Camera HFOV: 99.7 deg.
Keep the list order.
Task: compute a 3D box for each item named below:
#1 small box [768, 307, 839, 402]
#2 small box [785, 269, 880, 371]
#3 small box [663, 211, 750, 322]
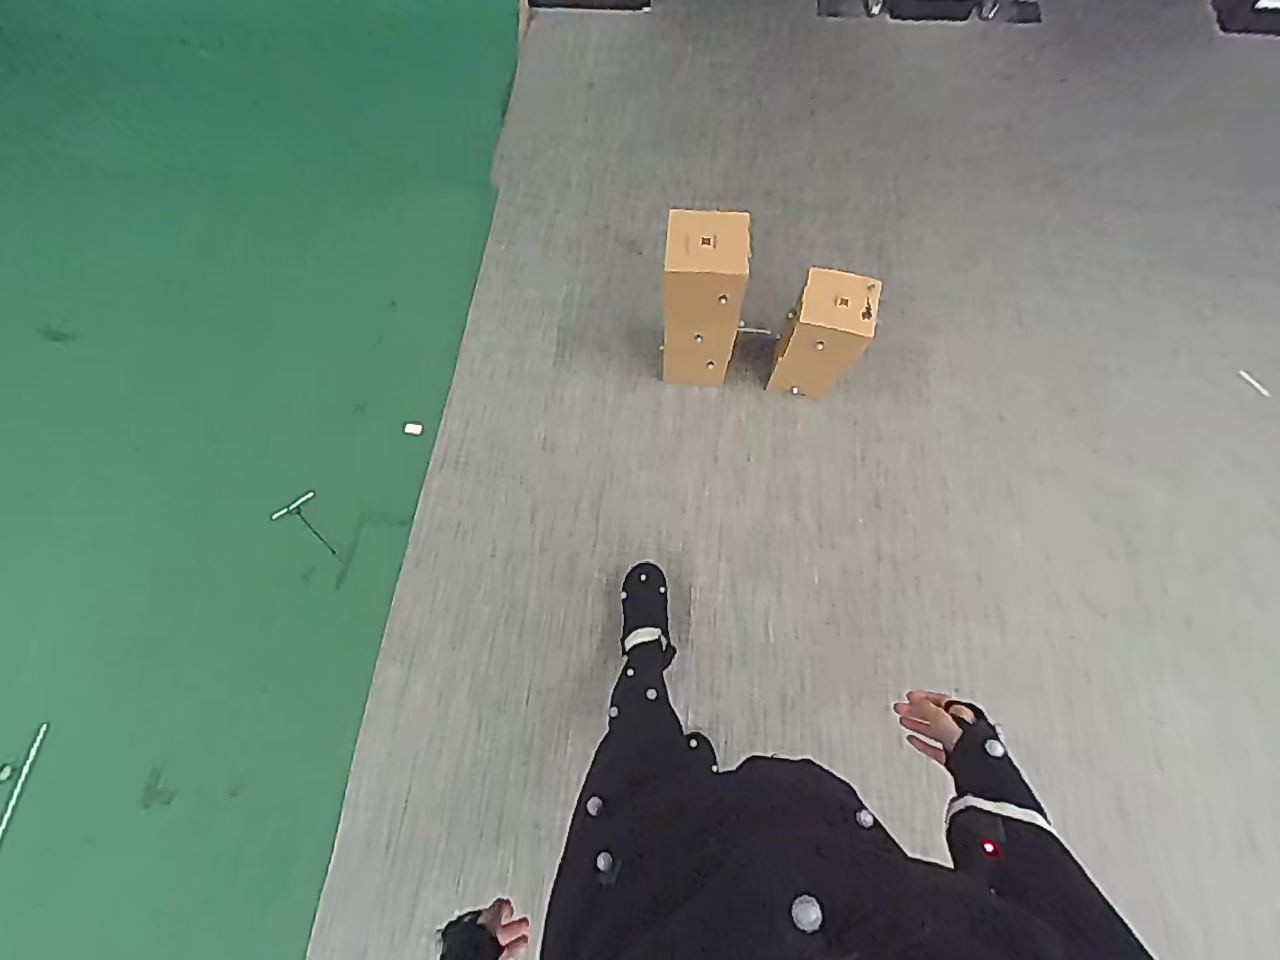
[{"bbox_3d":[0.463,-0.346,1.510,0.168,0.176,0.179,14,73,7],"label":"small box"},{"bbox_3d":[0.473,-0.394,1.352,0.179,0.176,0.168,14,72,8],"label":"small box"},{"bbox_3d":[0.145,-0.473,1.216,0.179,0.176,0.168,4,71,4],"label":"small box"}]
